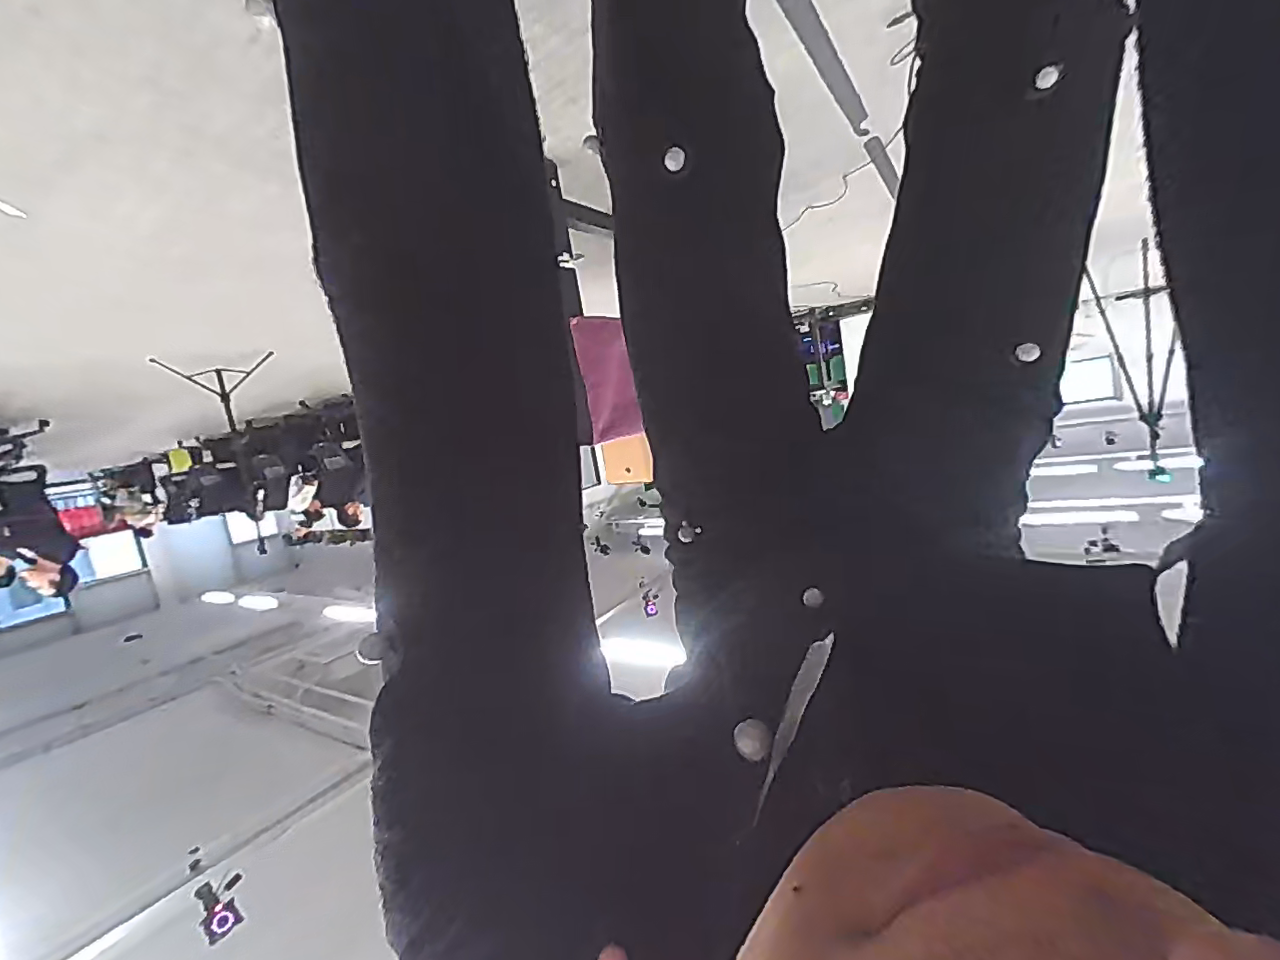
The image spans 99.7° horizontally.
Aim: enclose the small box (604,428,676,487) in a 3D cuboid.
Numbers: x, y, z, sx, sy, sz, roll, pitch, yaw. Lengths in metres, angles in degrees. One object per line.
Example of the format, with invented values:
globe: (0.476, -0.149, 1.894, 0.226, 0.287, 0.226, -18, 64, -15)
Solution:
small box: (-0.003, -0.080, 1.847, 0.179, 0.176, 0.168, -4, -171, 38)
